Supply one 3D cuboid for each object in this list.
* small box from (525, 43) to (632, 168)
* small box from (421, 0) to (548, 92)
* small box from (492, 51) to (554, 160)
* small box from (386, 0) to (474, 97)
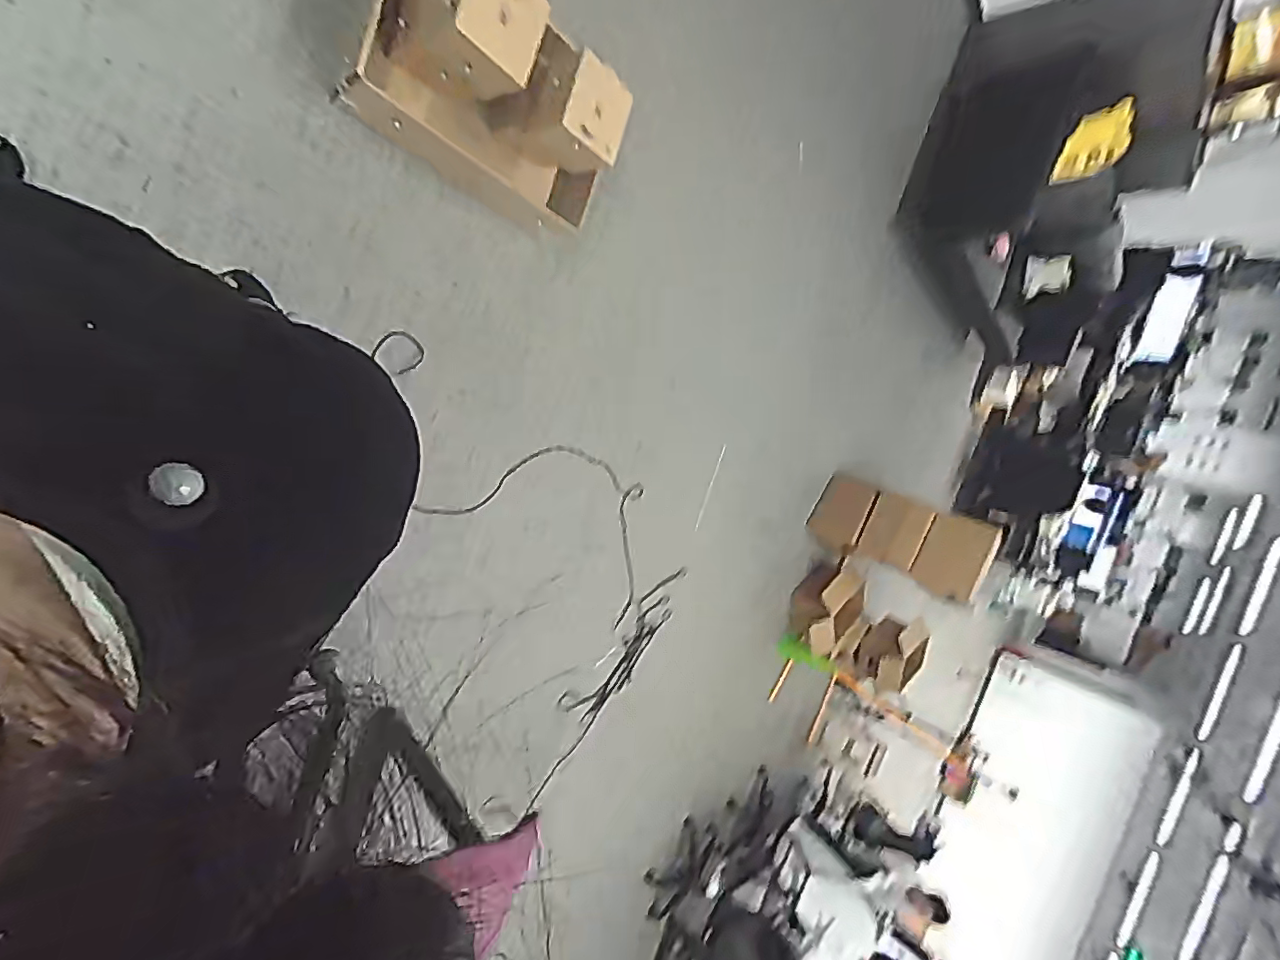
[{"bbox_3d":[-0.154,-0.893,1.309,0.168,0.176,0.179,14,96,-47],"label":"small box"},{"bbox_3d":[-0.326,-0.945,1.112,0.168,0.176,0.179,16,96,-49],"label":"small box"},{"bbox_3d":[-0.262,-0.962,1.412,0.179,0.176,0.168,8,102,-47],"label":"small box"},{"bbox_3d":[-0.441,-1.002,1.214,0.179,0.176,0.168,9,100,-49],"label":"small box"}]
